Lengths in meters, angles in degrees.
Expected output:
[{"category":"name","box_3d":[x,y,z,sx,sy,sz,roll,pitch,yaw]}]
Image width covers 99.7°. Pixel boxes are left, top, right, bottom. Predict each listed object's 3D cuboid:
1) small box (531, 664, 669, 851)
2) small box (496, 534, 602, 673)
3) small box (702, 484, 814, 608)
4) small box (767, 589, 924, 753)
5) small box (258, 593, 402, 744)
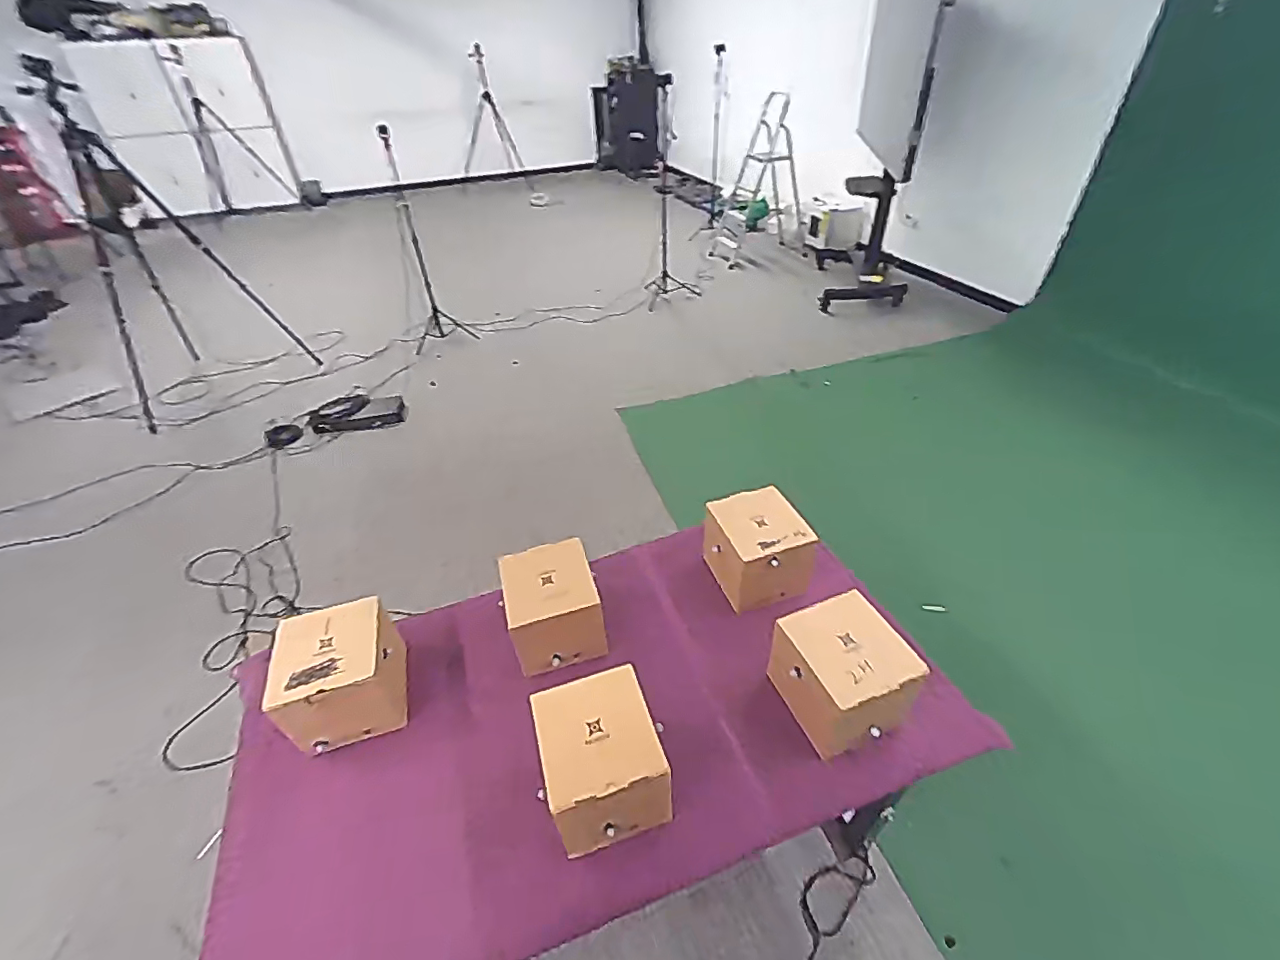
[{"category":"small box","box_3d":[-0.063,0.422,0.828,0.168,0.176,0.179,-13,41,-14]},{"category":"small box","box_3d":[-0.175,0.238,1.048,0.168,0.176,0.179,-13,43,-12]},{"category":"small box","box_3d":[0.238,0.138,1.145,0.168,0.176,0.179,-15,42,-13]},{"category":"small box","box_3d":[0.334,0.324,0.921,0.168,0.176,0.179,-16,43,-14]},{"category":"small box","box_3d":[-0.525,0.333,0.944,0.168,0.176,0.179,-14,43,-14]}]
